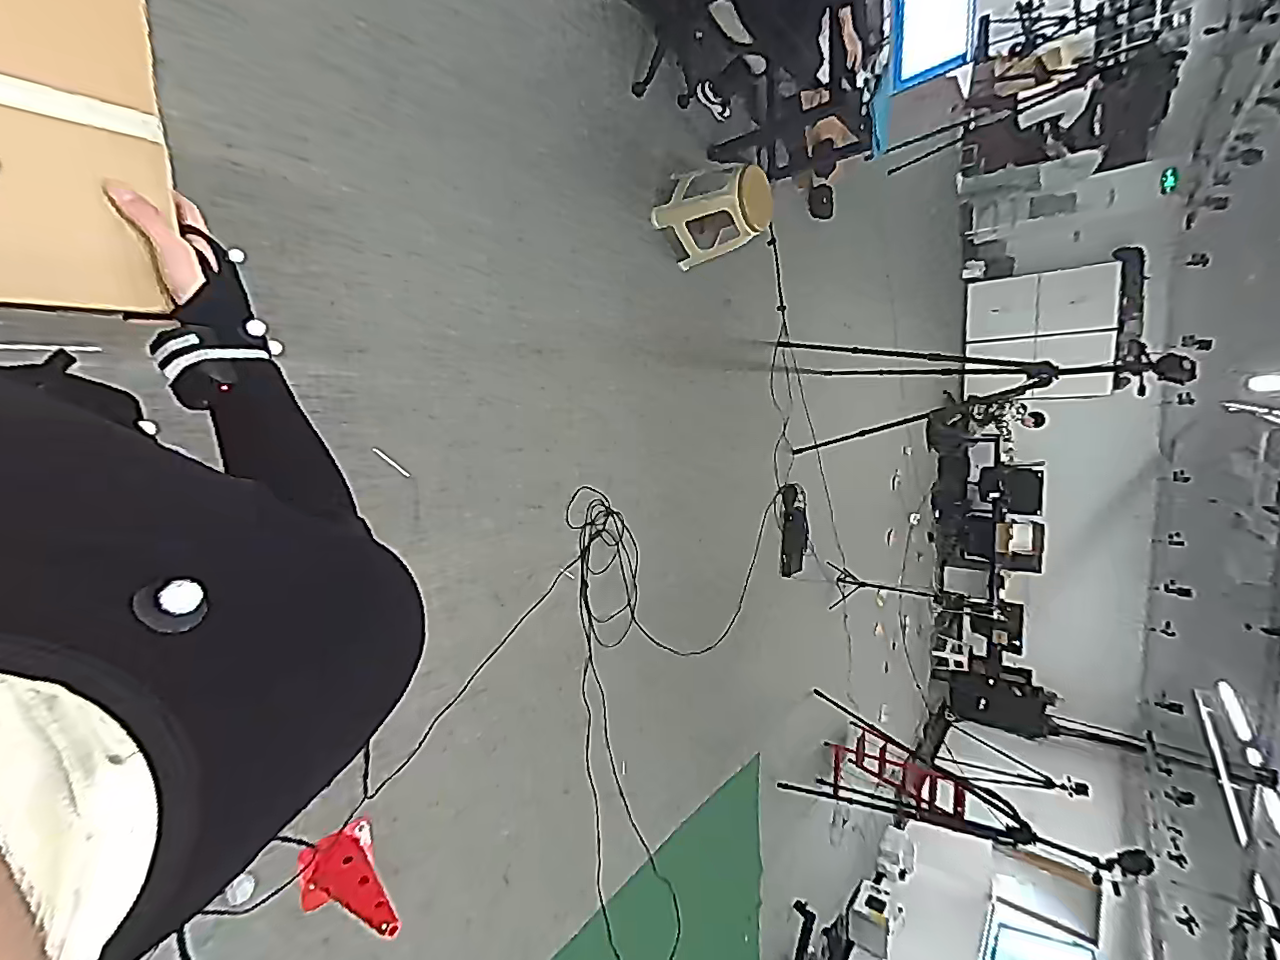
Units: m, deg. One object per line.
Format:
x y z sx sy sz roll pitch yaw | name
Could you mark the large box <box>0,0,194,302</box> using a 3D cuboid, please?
-0.673 -0.319 0.435 0.408 0.320 0.320 -14 113 -49 | large box
